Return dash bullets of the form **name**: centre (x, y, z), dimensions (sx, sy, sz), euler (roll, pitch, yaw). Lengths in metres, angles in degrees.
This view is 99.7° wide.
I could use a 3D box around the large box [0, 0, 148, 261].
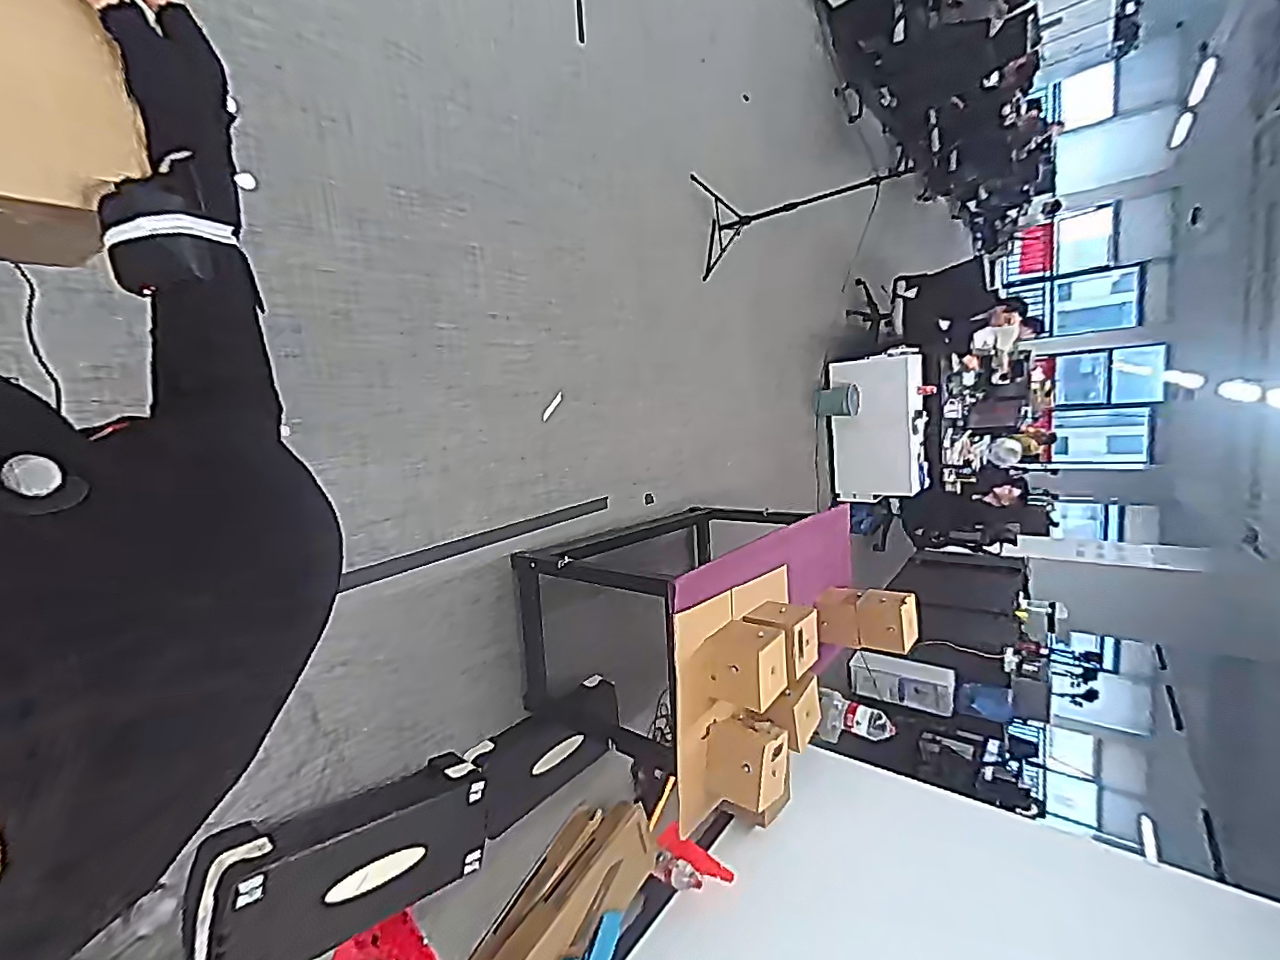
- **large box**: centre (-0.617, -0.334, 0.314), dimensions (0.408, 0.320, 0.320), euler (-15, 110, -53)
